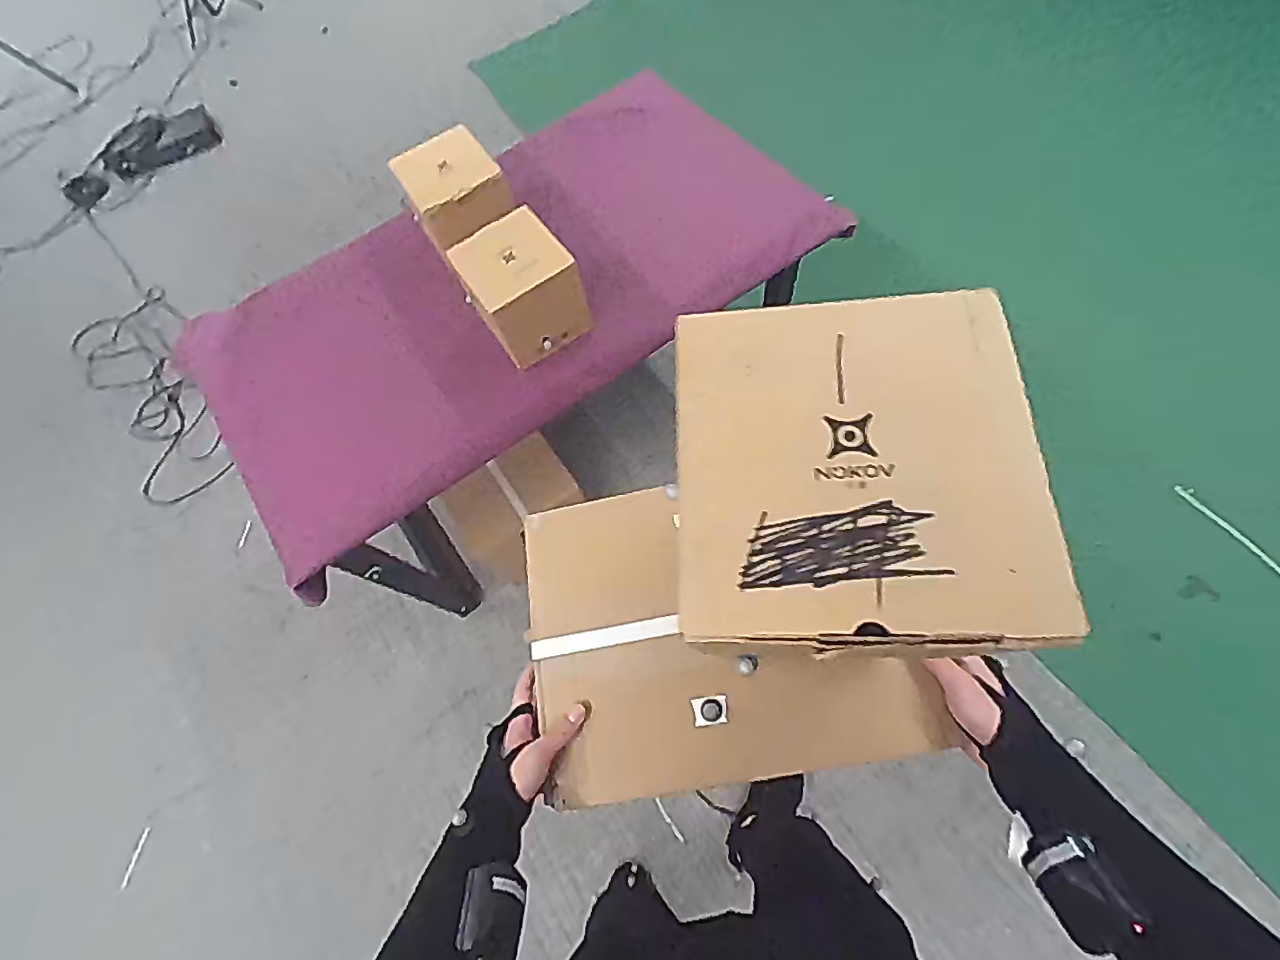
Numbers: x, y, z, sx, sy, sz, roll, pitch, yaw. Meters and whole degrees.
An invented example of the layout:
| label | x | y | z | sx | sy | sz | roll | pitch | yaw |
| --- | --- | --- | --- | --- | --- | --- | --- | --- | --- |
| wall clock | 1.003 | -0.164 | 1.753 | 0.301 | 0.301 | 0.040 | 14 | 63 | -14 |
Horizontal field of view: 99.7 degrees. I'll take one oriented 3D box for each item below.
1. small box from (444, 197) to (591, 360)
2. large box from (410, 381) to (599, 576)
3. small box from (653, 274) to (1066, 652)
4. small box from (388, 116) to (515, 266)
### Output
| label | x | y | z | sx | sy | sz | roll | pitch | yaw |
| --- | --- | --- | --- | --- | --- | --- | --- | --- | --- |
| small box | -0.209 | -0.349 | 0.958 | 0.168 | 0.176 | 0.179 | -34 | 68 | -7 |
| large box | -0.372 | 0.005 | 1.551 | 0.320 | 0.320 | 0.408 | -35 | 67 | -9 |
| small box | 0.101 | 0.010 | 0.325 | 0.168 | 0.176 | 0.179 | -3 | 70 | 9 |
| small box | -0.353 | -0.559 | 1.062 | 0.168 | 0.176 | 0.179 | -33 | 69 | -8 |
